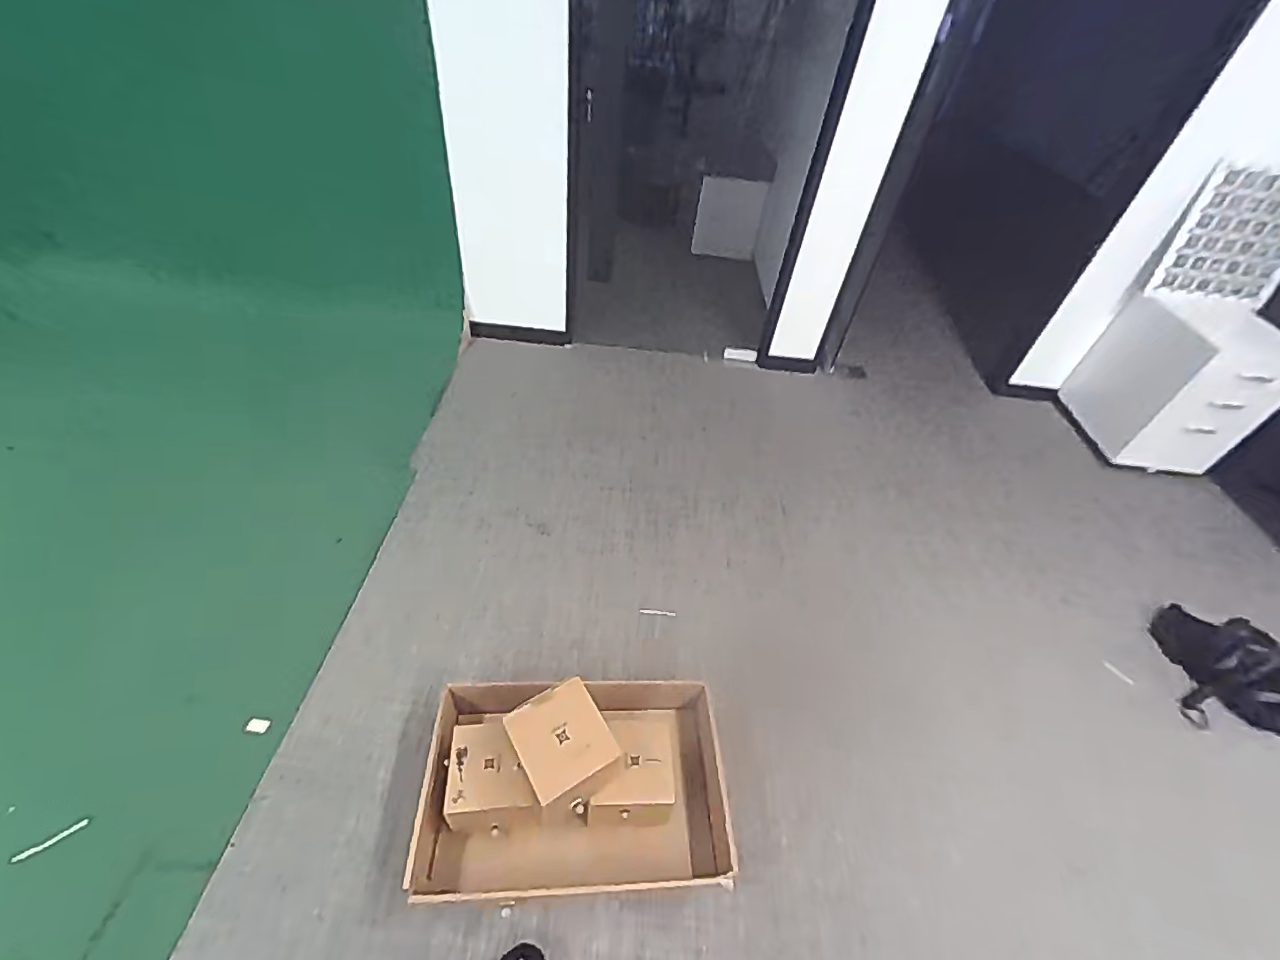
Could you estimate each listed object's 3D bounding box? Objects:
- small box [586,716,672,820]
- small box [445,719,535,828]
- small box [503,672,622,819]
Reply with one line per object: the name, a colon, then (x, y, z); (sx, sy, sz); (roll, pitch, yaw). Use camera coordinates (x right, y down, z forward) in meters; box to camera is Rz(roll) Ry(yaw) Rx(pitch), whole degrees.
small box: (-0.030, 0.636, 1.192); (0.179, 0.176, 0.168); (2, 45, -6)
small box: (-0.309, 0.627, 1.159); (0.179, 0.176, 0.168); (1, 44, -10)
small box: (-0.155, 0.521, 1.060); (0.168, 0.176, 0.179); (-22, 53, -27)
